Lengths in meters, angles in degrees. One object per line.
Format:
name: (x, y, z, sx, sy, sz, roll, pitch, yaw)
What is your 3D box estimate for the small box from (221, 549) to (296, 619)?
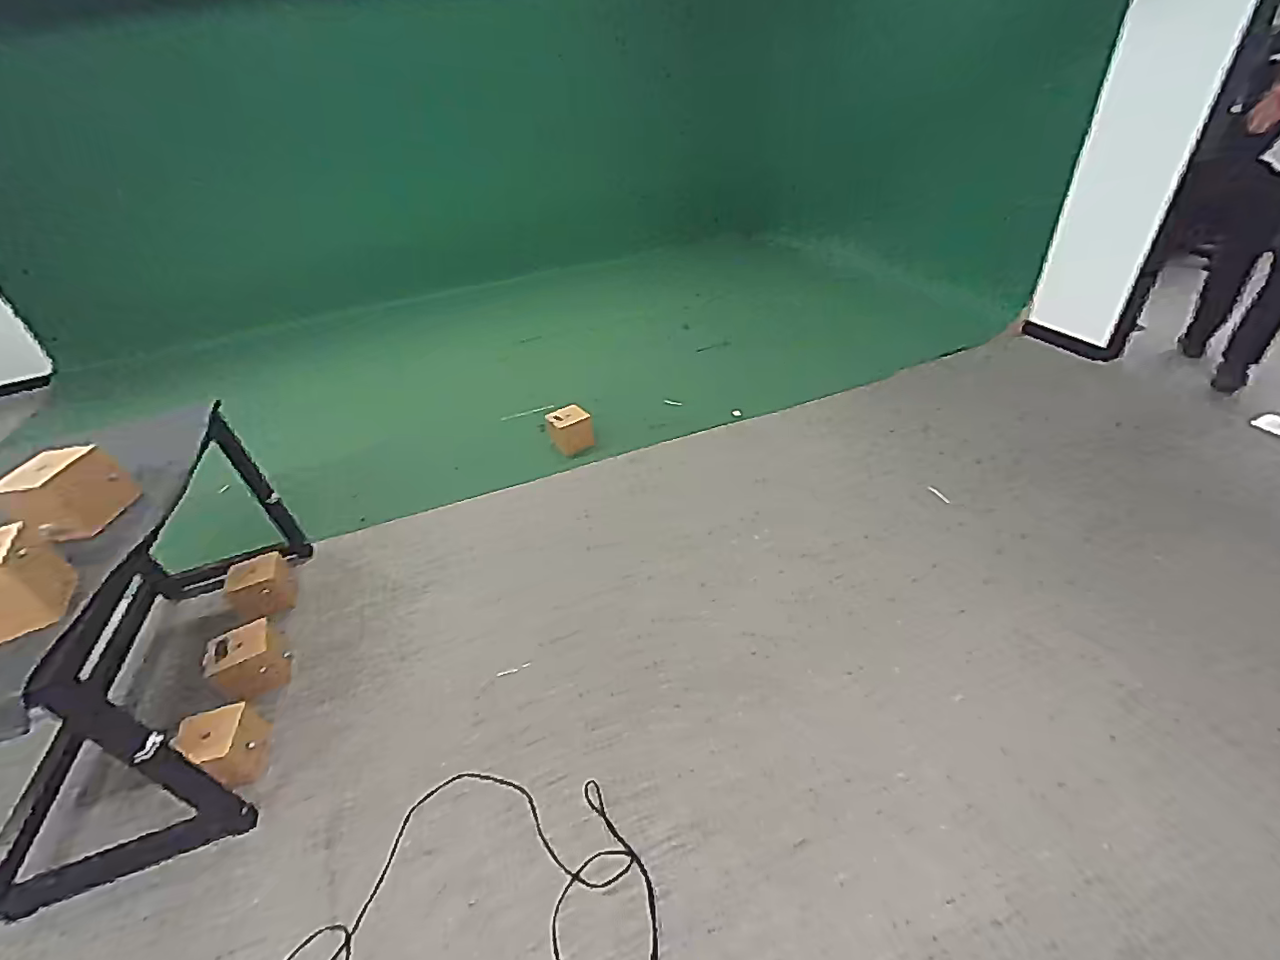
small box: (-1.456, 0.400, 2.076, 0.179, 0.176, 0.168, -20, 39, -15)

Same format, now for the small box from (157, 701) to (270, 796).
small box: (-1.217, 0.776, 1.563, 0.179, 0.176, 0.168, -14, 39, -8)

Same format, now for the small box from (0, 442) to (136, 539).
small box: (-1.445, 0.026, 1.368, 0.168, 0.176, 0.179, -7, 39, 6)

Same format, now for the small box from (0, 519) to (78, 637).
small box: (-1.326, 0.217, 1.103, 0.179, 0.176, 0.168, -25, 41, -21)

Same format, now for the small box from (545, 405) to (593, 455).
small box: (-0.353, -0.249, 2.720, 0.179, 0.176, 0.168, -26, 42, -24)
